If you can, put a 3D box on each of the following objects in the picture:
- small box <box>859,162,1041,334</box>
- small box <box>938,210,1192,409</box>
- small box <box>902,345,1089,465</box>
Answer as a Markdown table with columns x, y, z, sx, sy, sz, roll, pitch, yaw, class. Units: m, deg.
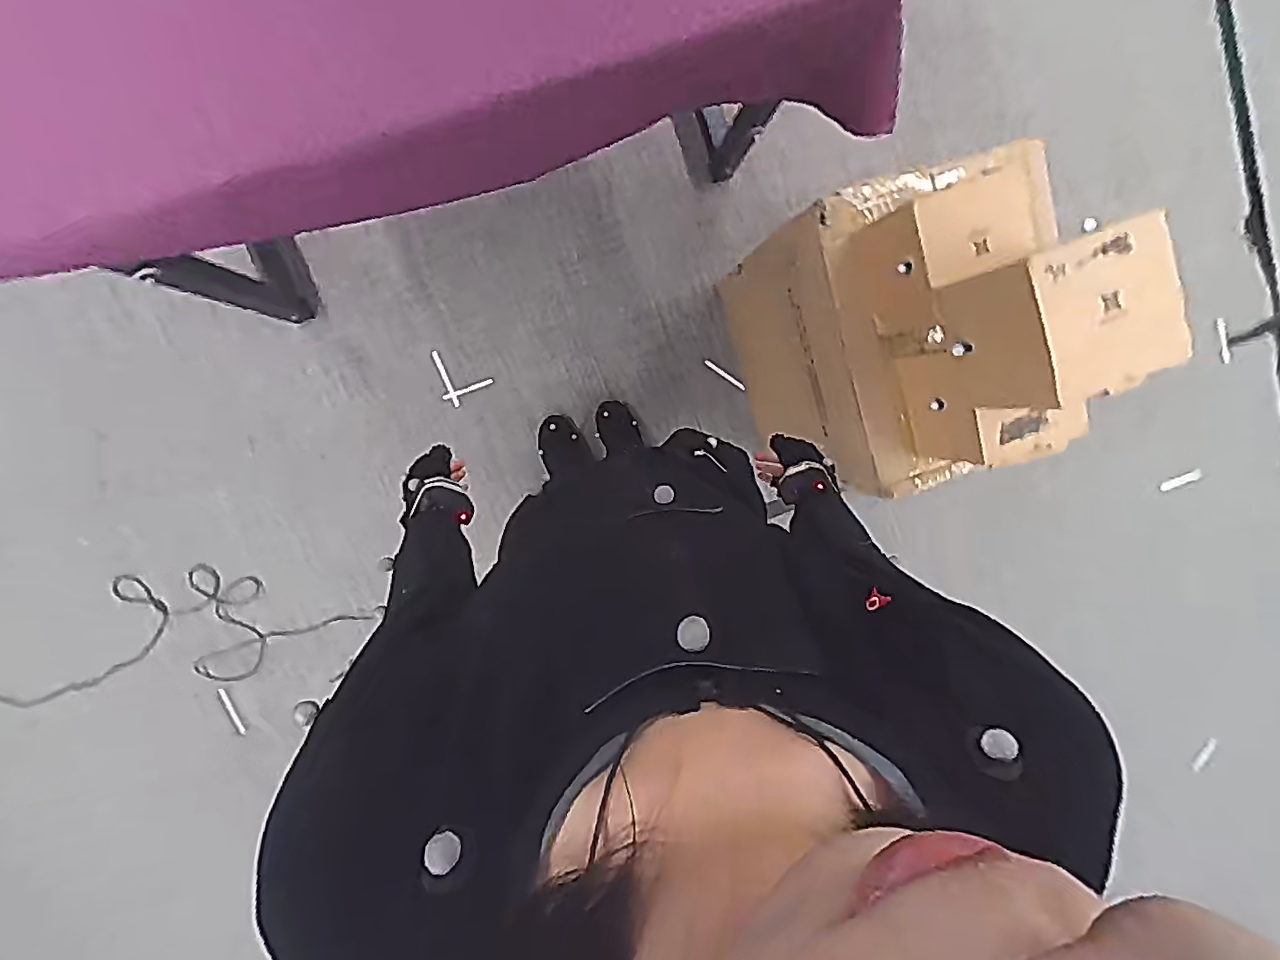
| x | y | z | sx | sy | sz | roll | pitch | yaw | class |
| --- | --- | --- | --- | --- | --- | --- | --- | --- | --- |
| 0.457 | -0.334 | 0.814 | 0.168 | 0.176 | 0.179 | -20 | 101 | -2 | small box |
| 0.512 | -0.198 | 0.672 | 0.168 | 0.176 | 0.179 | -20 | 99 | -2 | small box |
| 0.546 | -0.133 | 0.850 | 0.168 | 0.176 | 0.179 | -16 | 97 | -3 | small box |
